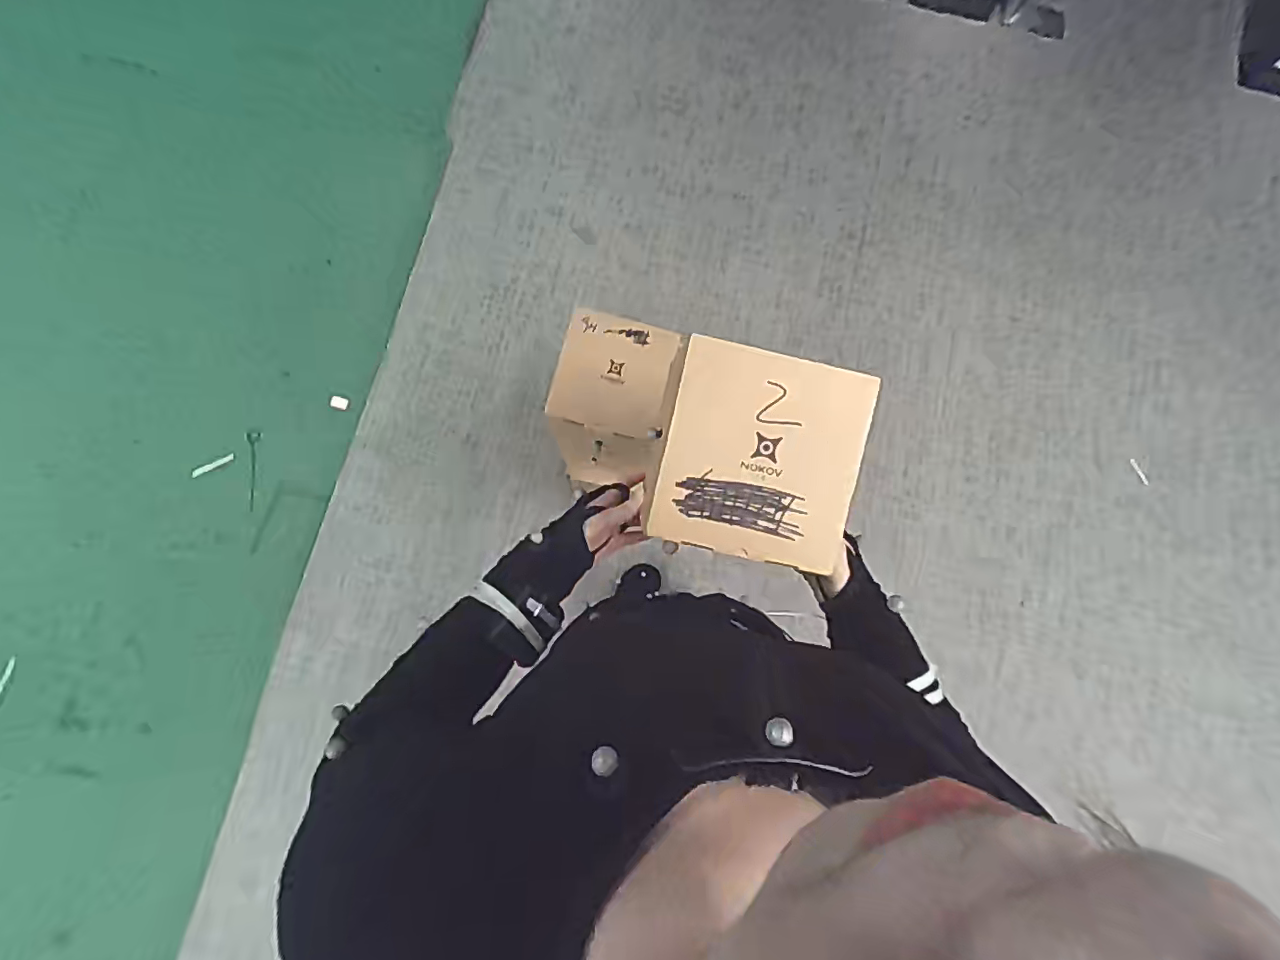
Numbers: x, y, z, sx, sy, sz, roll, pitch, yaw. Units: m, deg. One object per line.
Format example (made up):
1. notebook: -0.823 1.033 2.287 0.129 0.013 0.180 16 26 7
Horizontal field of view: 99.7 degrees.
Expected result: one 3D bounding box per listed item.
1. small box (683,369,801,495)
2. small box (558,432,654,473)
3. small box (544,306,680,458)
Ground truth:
1. small box: 0.184 -0.081 1.028 0.168 0.176 0.179 17 80 1
2. small box: -0.050 -0.125 1.028 0.168 0.176 0.179 14 82 -1
3. small box: -0.042 -0.144 0.865 0.168 0.176 0.179 15 82 -1
